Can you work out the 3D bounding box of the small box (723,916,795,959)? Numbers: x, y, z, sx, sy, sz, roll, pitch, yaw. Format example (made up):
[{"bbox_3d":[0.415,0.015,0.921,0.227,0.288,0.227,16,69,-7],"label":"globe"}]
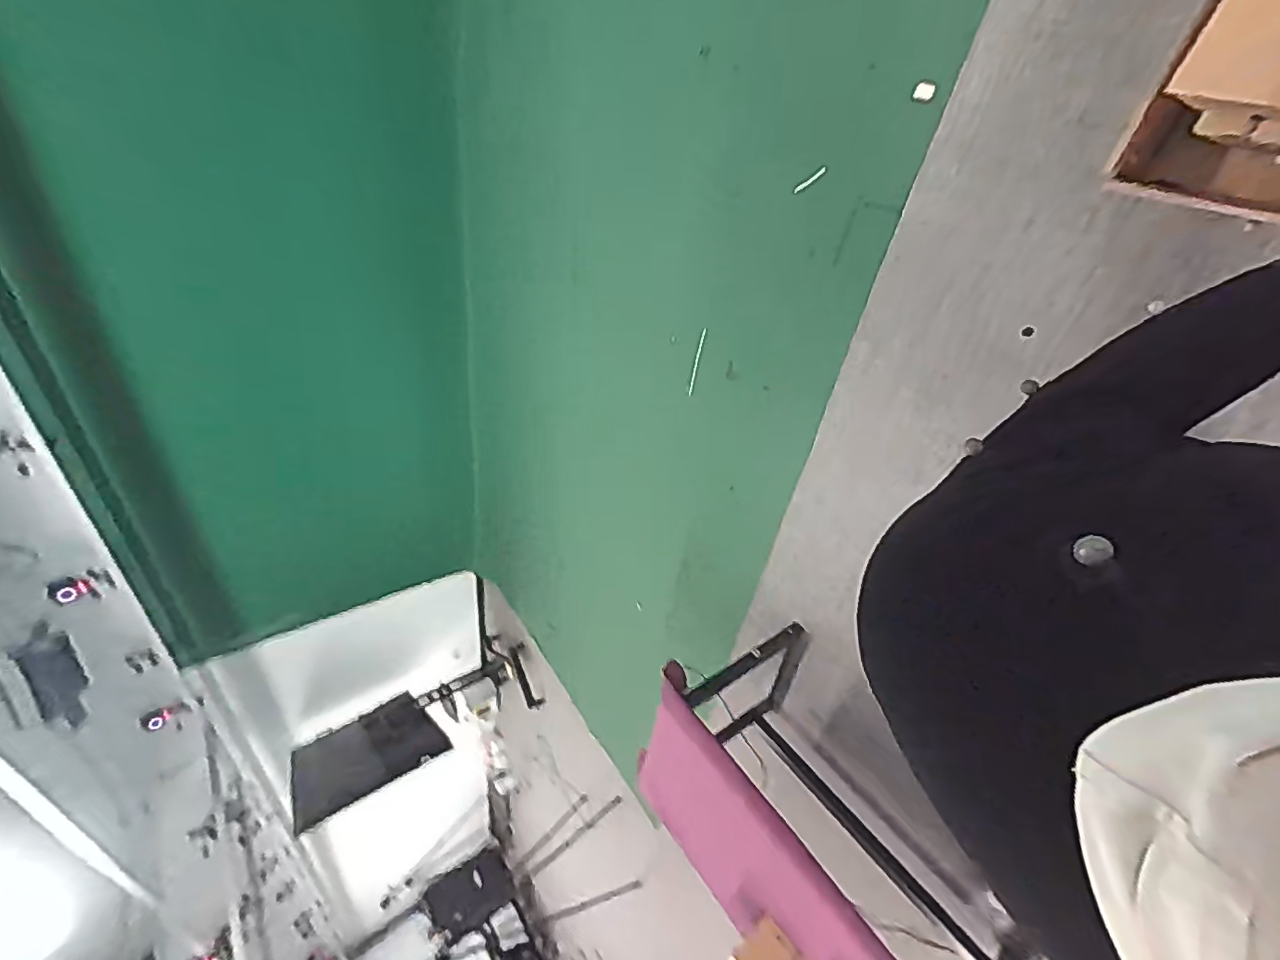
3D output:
[{"bbox_3d":[0.356,1.456,1.607,0.168,0.176,0.179,41,136,38],"label":"small box"}]

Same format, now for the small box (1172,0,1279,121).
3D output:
[{"bbox_3d":[0.694,-0.464,0.528,0.168,0.176,0.179,46,138,35],"label":"small box"}]
